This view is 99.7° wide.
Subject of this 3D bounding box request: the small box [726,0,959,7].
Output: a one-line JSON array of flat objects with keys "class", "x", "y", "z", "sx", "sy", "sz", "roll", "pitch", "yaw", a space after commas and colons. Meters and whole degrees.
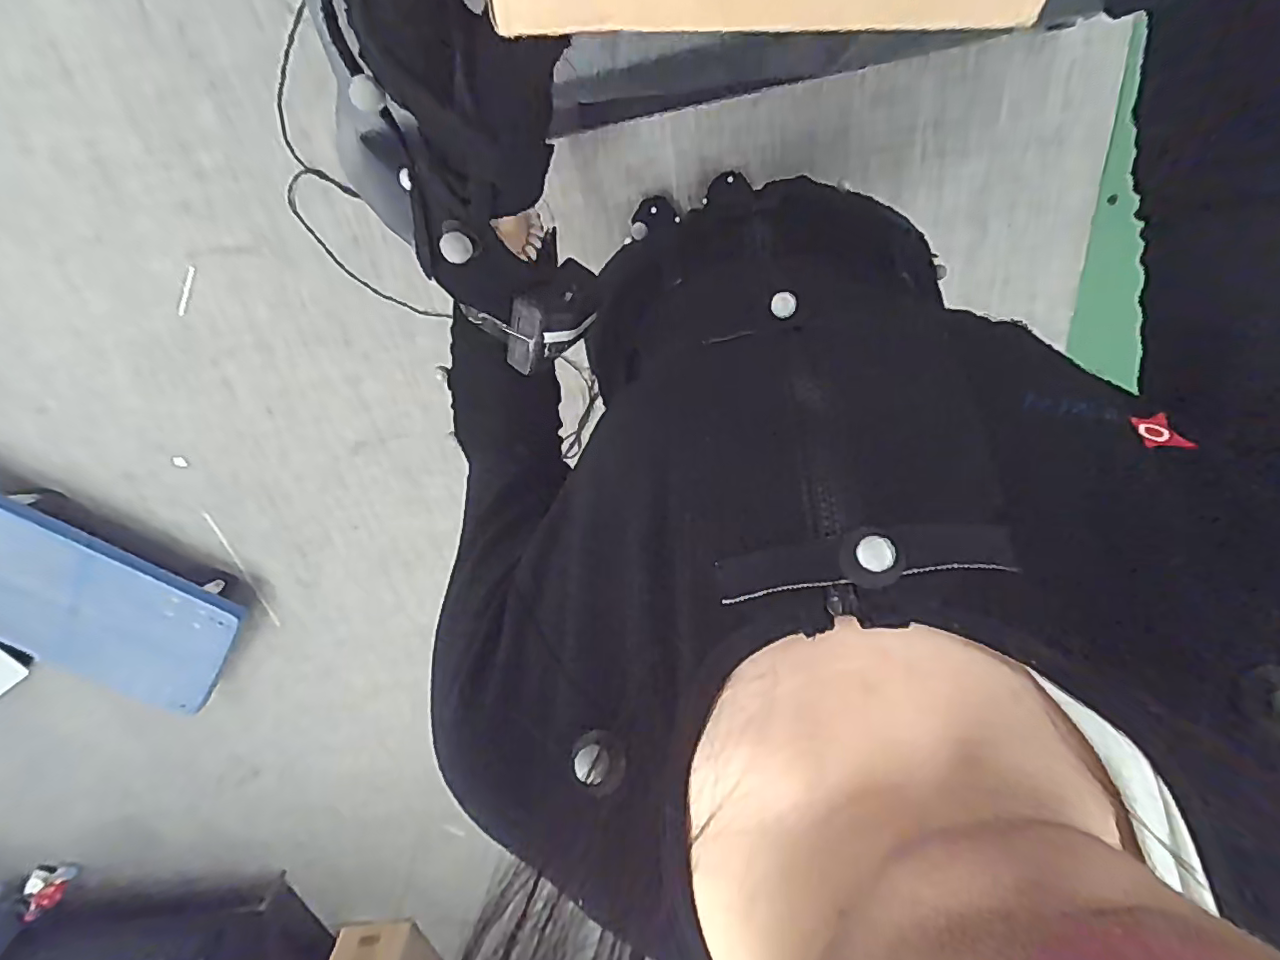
[{"class": "small box", "x": 0.035, "y": -0.255, "z": 0.140, "sx": 0.168, "sy": 0.179, "sz": 0.176, "roll": -4, "pitch": 147, "yaw": -4}]
